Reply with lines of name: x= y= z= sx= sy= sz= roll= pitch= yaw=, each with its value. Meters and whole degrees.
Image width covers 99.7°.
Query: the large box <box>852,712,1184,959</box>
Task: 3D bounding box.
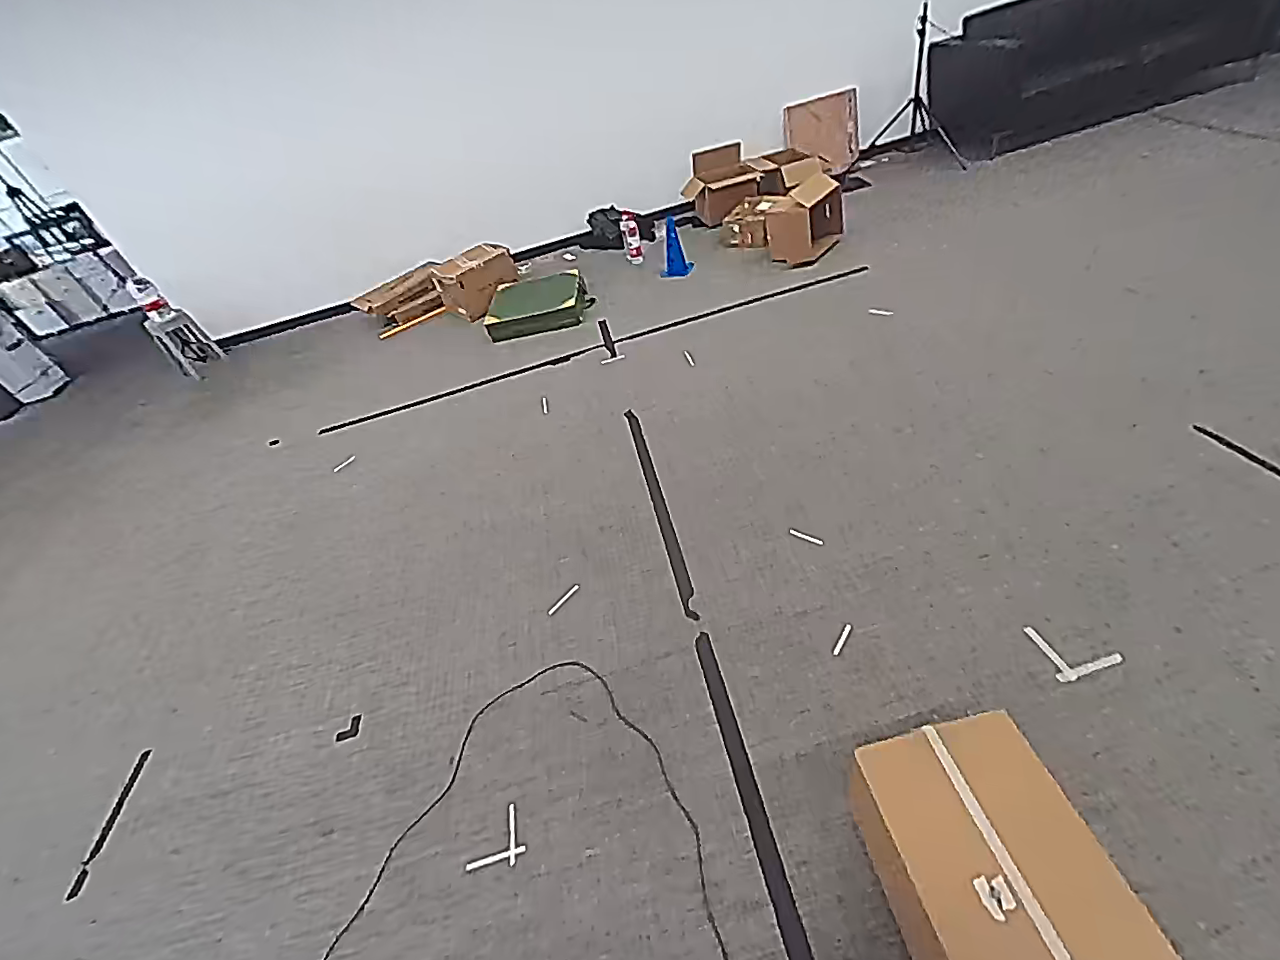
large box: x=0.644 y=0.730 z=1.021 sx=0.320 sy=0.320 sz=0.408 roll=-17 pitch=42 yaw=2
